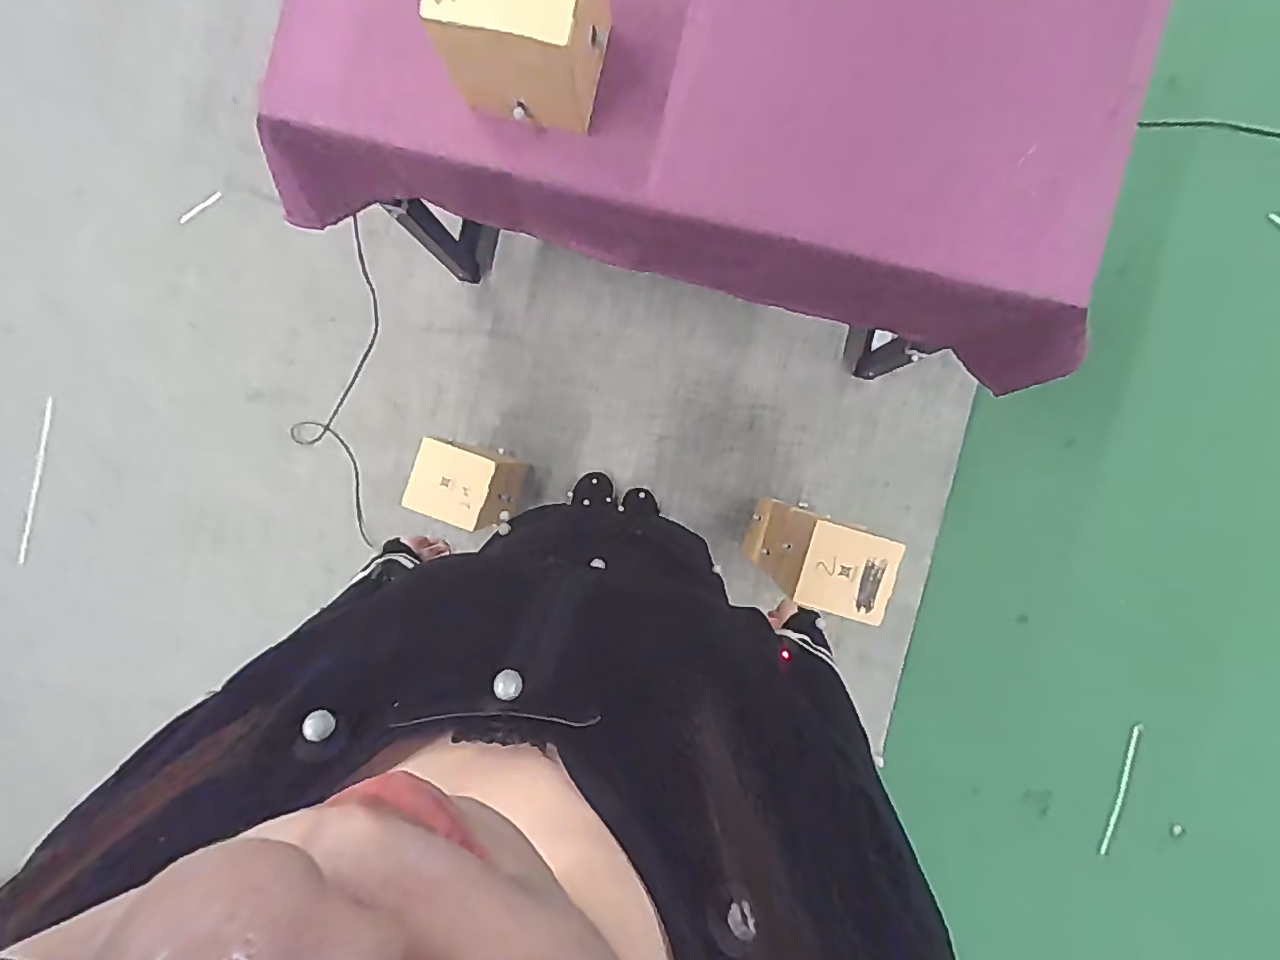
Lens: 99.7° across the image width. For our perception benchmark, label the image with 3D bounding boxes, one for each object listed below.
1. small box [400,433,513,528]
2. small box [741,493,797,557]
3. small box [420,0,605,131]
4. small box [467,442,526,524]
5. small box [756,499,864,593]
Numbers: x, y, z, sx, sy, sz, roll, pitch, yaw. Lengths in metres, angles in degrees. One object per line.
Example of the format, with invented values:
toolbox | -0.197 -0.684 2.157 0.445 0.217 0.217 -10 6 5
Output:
small box | -0.423 0.000 1.272 0.179 0.176 0.168 20 92 0
small box | 0.381 0.137 1.428 0.179 0.176 0.168 18 92 0
small box | -0.146 -0.582 0.684 0.179 0.176 0.168 12 91 0
small box | -0.415 0.004 1.437 0.168 0.176 0.179 17 91 0
small box | 0.386 0.146 1.265 0.179 0.176 0.168 15 93 -1
